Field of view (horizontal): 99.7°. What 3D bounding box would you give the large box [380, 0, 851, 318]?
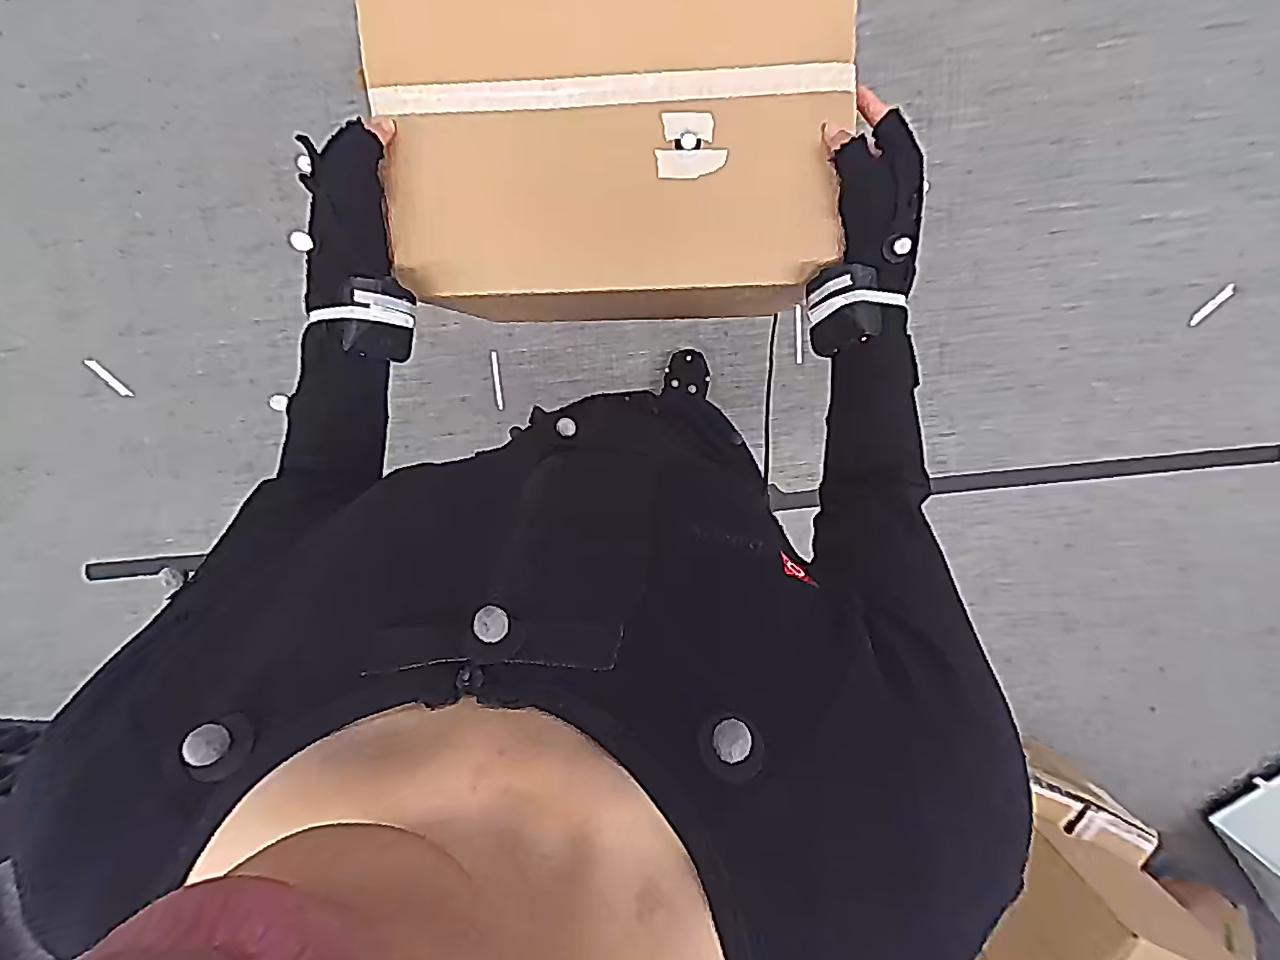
[{"bbox_3d":[-0.018,-0.365,0.615,0.408,0.320,0.320,-1,103,1],"label":"large box"}]
